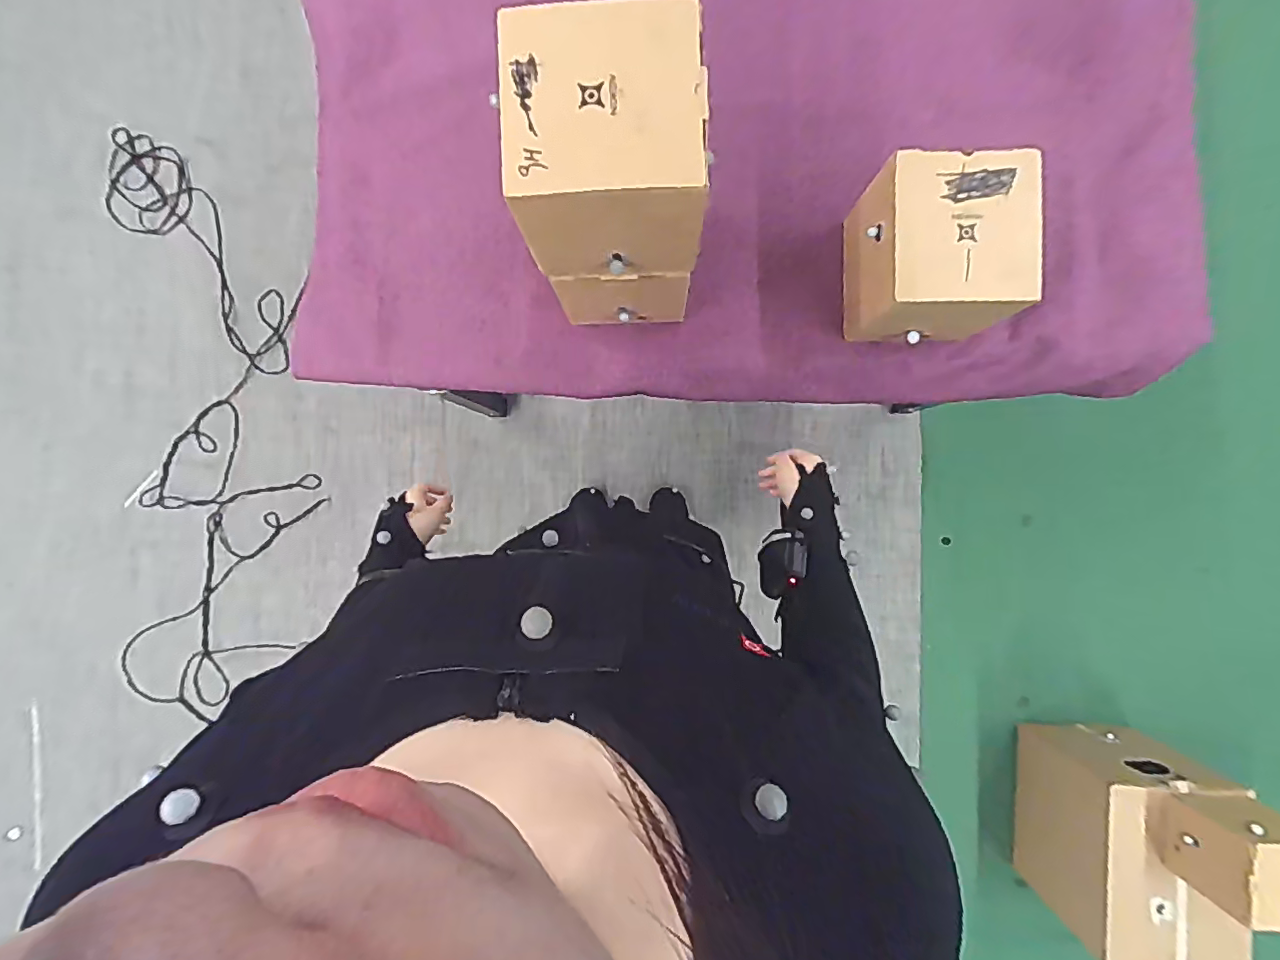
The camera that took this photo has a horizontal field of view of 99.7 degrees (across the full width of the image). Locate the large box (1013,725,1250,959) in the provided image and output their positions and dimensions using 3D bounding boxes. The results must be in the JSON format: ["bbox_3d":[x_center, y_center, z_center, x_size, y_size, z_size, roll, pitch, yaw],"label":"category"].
[{"bbox_3d":[1.166,0.862,1.320,0.320,0.320,0.408,2,91,2],"label":"large box"}]

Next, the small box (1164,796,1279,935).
[{"bbox_3d":[1.214,0.758,1.076,0.179,0.176,0.168,2,91,1],"label":"small box"}]

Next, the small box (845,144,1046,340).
[{"bbox_3d":[0.368,-0.286,0.680,0.168,0.176,0.179,0,90,2],"label":"small box"}]

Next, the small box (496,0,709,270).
[{"bbox_3d":[-0.031,-0.318,0.525,0.179,0.176,0.168,-2,88,1],"label":"small box"}]

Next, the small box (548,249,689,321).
[{"bbox_3d":[-0.026,-0.317,0.689,0.168,0.176,0.179,-1,89,2],"label":"small box"}]
